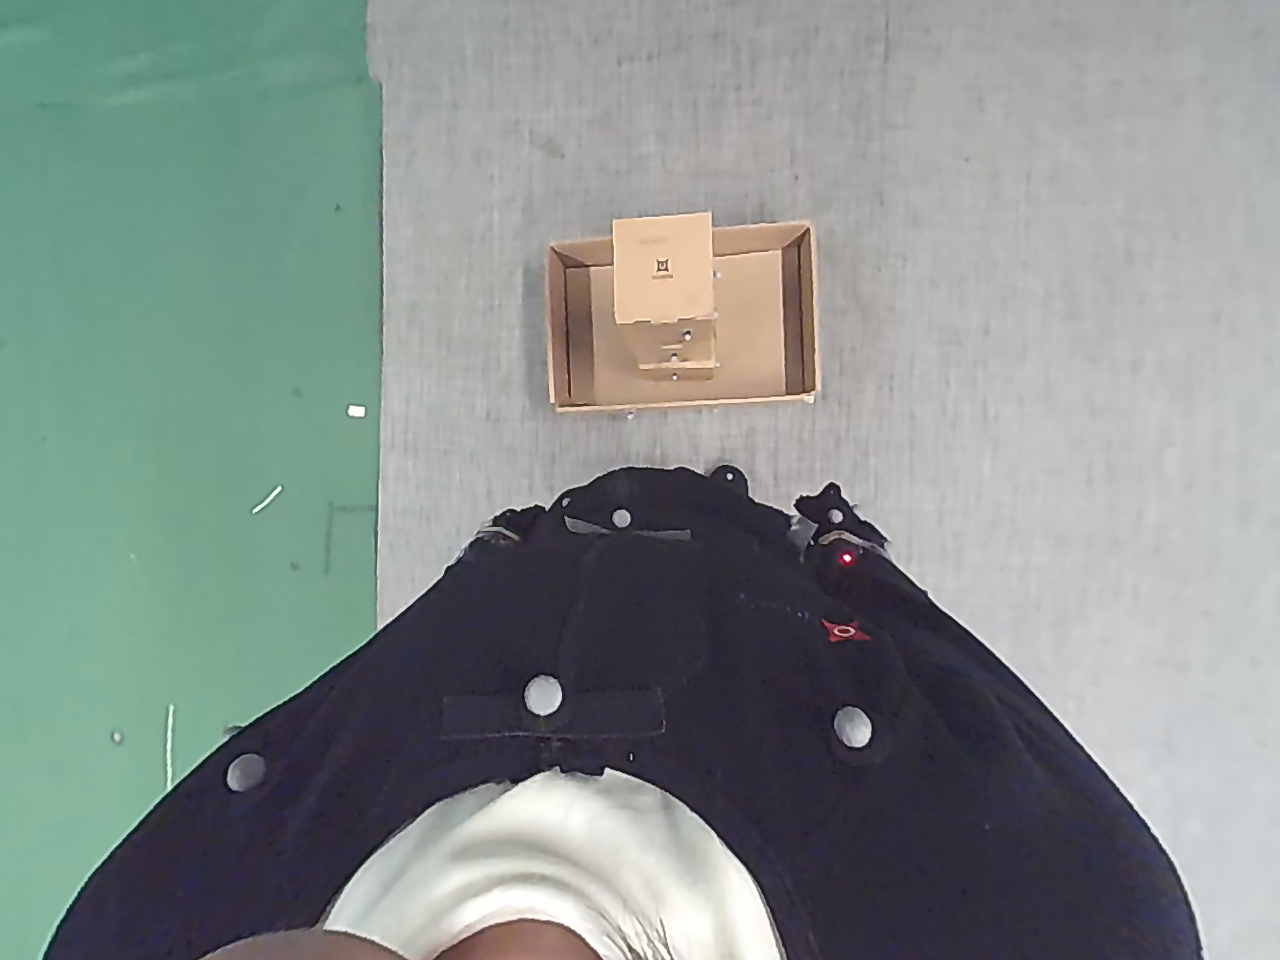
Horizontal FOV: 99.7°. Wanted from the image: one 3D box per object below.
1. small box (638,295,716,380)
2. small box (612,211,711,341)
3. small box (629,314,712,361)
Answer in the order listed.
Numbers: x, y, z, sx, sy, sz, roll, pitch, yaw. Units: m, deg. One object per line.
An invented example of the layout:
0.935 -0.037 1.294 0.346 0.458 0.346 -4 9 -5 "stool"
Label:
0.093 -0.342 1.315 0.179 0.176 0.168 1 90 8 "small box"
0.044 -0.355 0.976 0.168 0.176 0.179 -1 89 6 "small box"
0.067 -0.358 1.157 0.168 0.176 0.179 -4 89 8 "small box"
